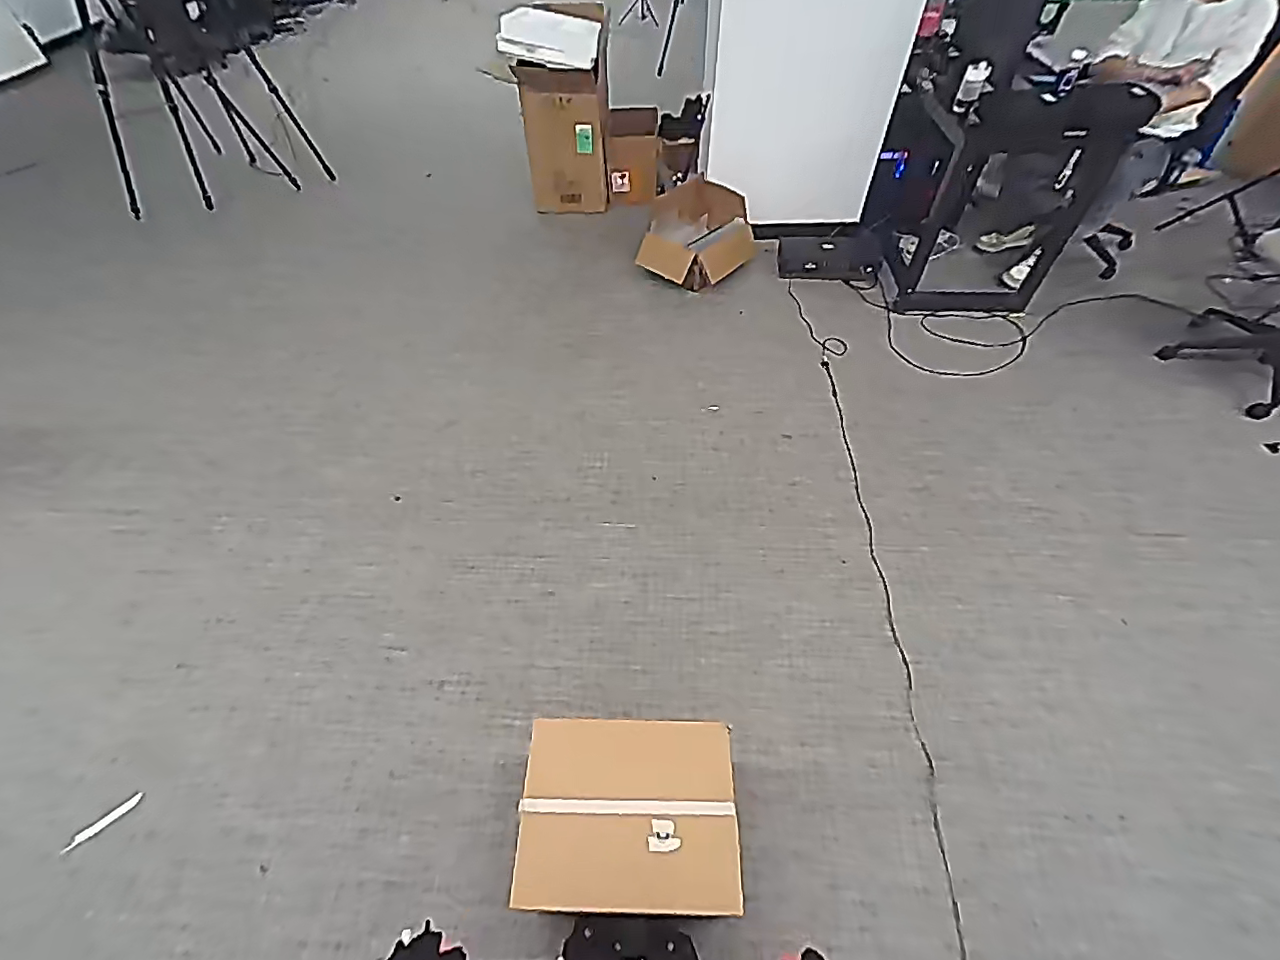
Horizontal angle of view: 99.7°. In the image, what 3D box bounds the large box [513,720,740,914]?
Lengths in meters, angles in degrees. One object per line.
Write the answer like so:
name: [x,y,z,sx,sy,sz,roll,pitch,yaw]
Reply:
large box: [-0.024,0.717,1.144,0.408,0.320,0.320,1,51,1]
